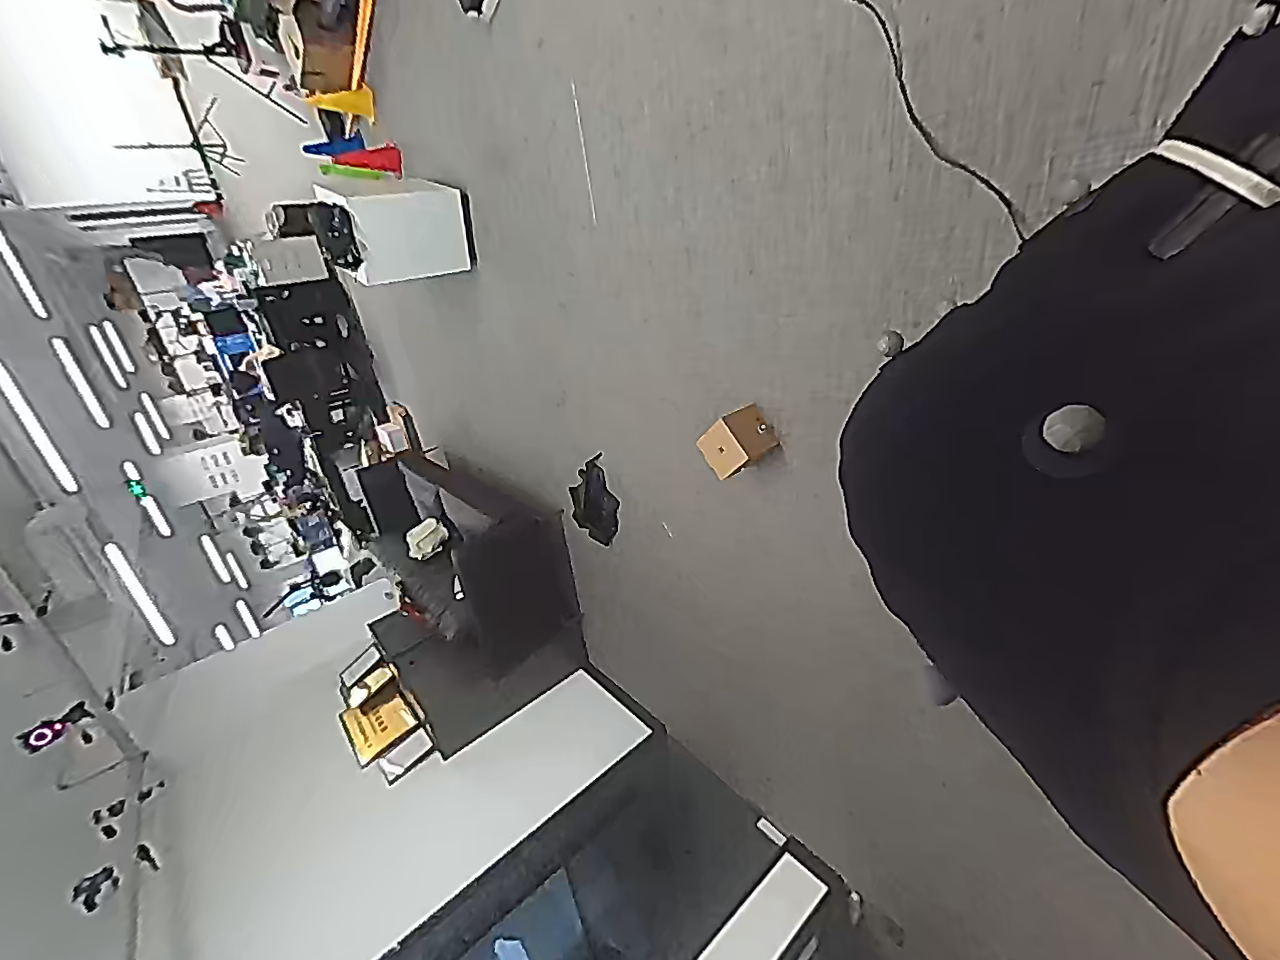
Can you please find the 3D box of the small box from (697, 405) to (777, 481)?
[{"bbox_3d":[0.332,-0.127,1.841,0.168,0.176,0.179,57,146,10],"label":"small box"}]
